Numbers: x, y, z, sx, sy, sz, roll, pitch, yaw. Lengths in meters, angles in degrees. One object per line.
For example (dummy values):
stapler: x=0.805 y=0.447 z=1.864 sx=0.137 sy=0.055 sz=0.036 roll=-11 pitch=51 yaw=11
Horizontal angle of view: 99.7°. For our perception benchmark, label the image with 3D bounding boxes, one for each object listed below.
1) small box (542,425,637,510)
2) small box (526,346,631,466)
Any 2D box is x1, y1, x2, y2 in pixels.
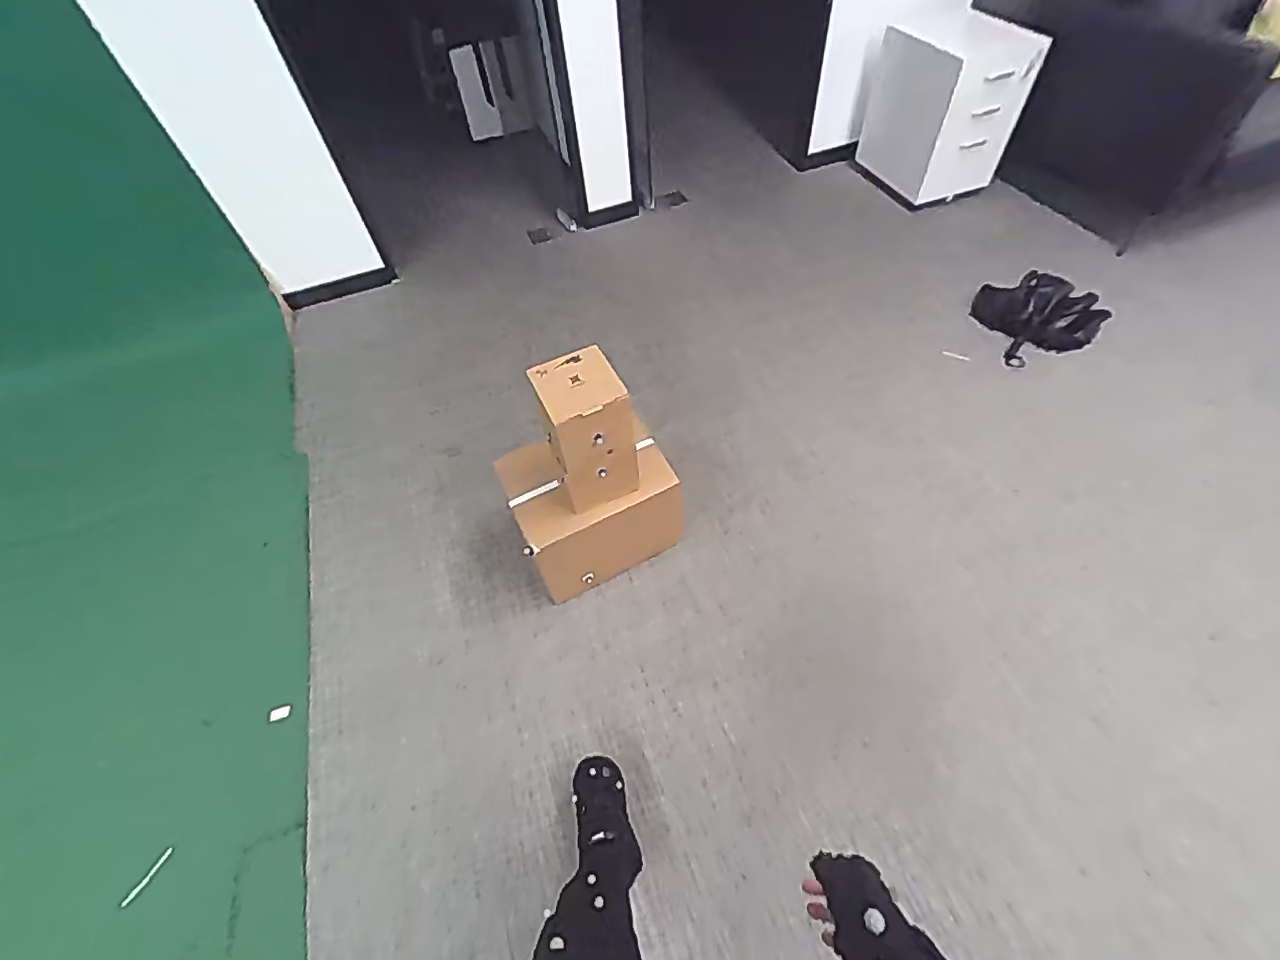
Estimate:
small box: x=-0.117 y=-0.055 z=1.307 sx=0.179 sy=0.176 sz=0.168 roll=-22 pitch=57 yaw=-13
small box: x=-0.128 y=-0.153 z=1.176 sx=0.168 sy=0.176 sz=0.179 roll=-23 pitch=57 yaw=-11
